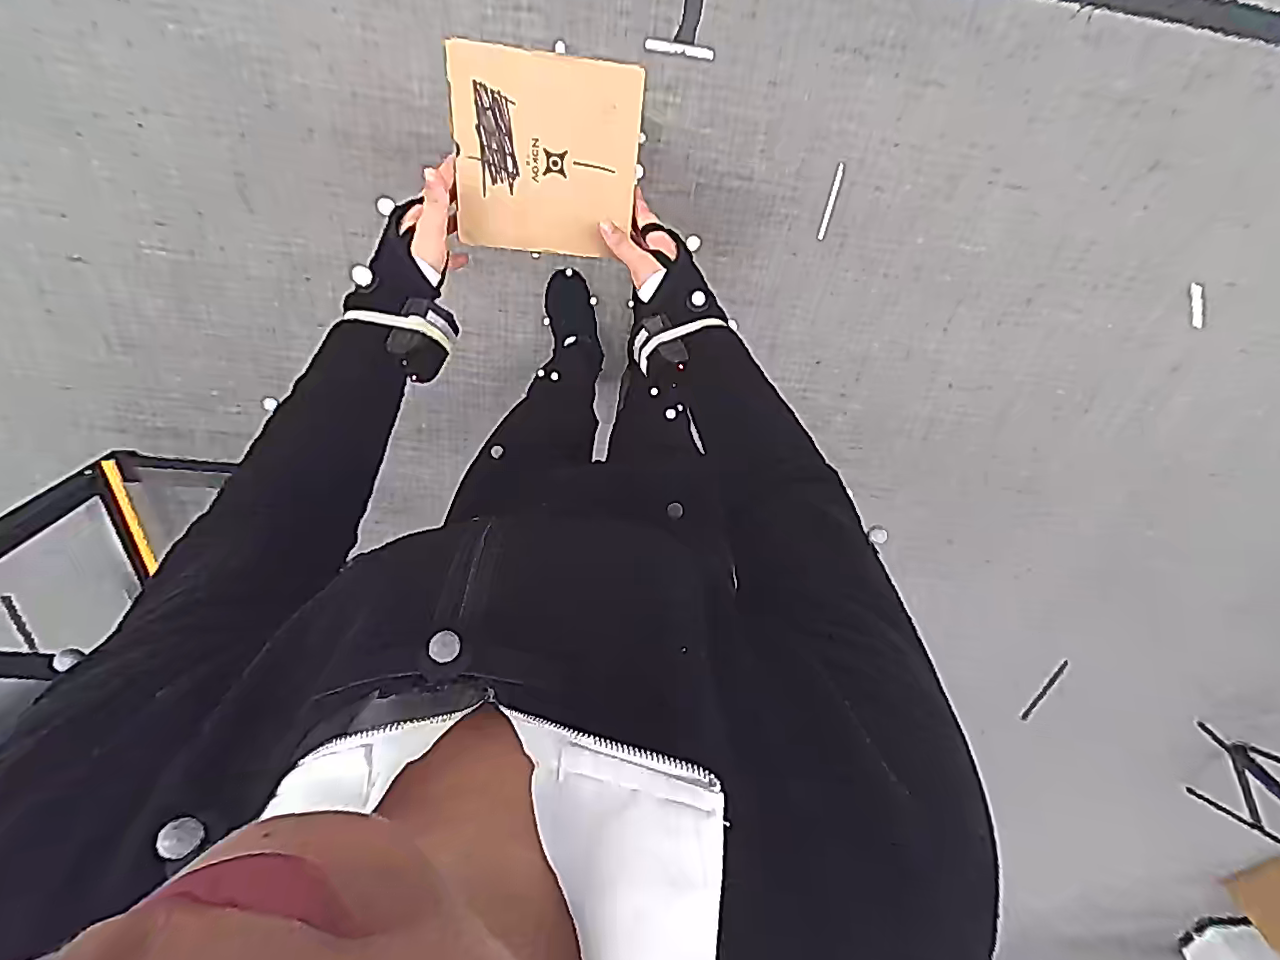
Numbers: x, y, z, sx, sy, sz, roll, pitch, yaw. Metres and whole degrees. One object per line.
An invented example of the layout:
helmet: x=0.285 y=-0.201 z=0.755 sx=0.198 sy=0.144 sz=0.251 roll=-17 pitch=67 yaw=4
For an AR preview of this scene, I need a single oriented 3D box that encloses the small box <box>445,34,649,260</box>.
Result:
small box: x=-0.093 y=-0.342 z=0.570 sx=0.179 sy=0.176 sz=0.168 roll=2 pitch=124 yaw=-8
